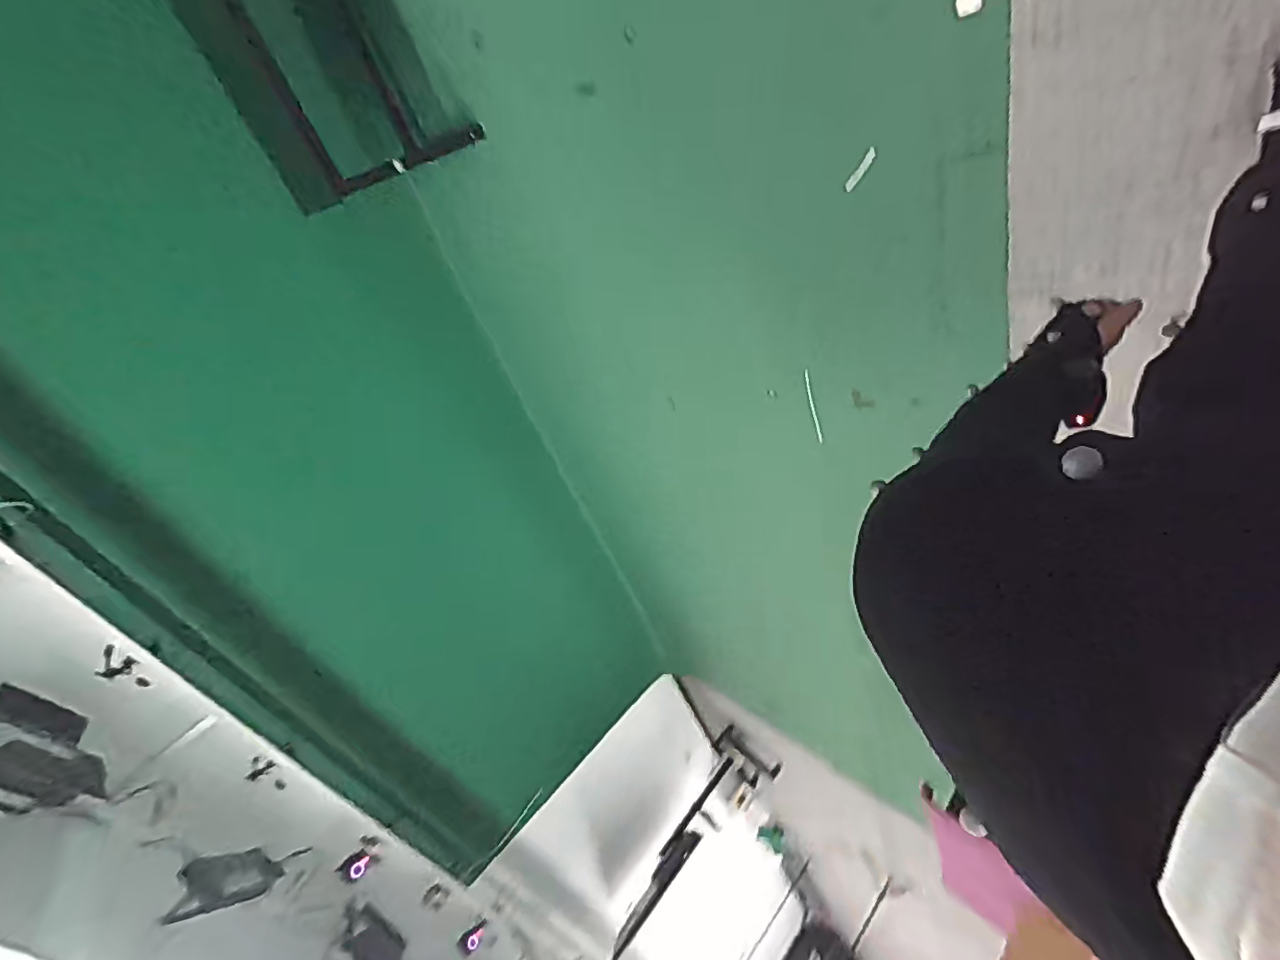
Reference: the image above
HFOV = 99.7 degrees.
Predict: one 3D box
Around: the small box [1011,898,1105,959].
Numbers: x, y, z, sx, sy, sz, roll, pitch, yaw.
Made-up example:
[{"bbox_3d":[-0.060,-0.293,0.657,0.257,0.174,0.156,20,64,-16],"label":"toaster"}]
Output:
[{"bbox_3d":[1.220,1.374,1.581,0.179,0.176,0.168,16,140,51],"label":"small box"}]
